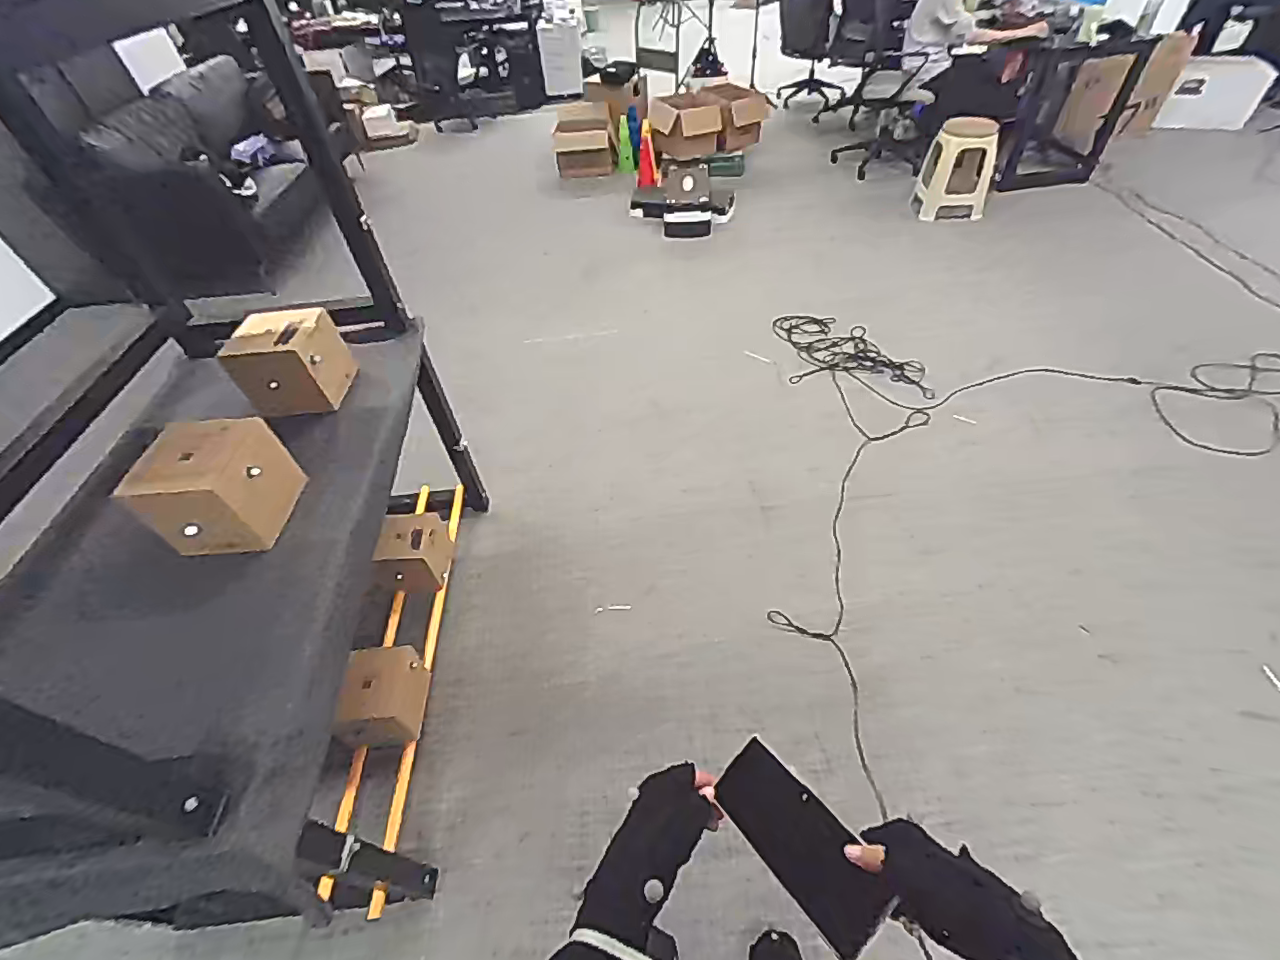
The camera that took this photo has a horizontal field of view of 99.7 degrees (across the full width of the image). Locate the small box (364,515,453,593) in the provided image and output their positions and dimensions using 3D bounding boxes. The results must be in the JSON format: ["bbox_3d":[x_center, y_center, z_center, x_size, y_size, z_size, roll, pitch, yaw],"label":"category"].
[{"bbox_3d":[-0.676,0.221,1.605,0.179,0.176,0.168,-3,47,2],"label":"small box"}]

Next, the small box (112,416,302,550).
[{"bbox_3d":[-0.740,0.011,0.953,0.168,0.176,0.179,-3,47,2],"label":"small box"}]
